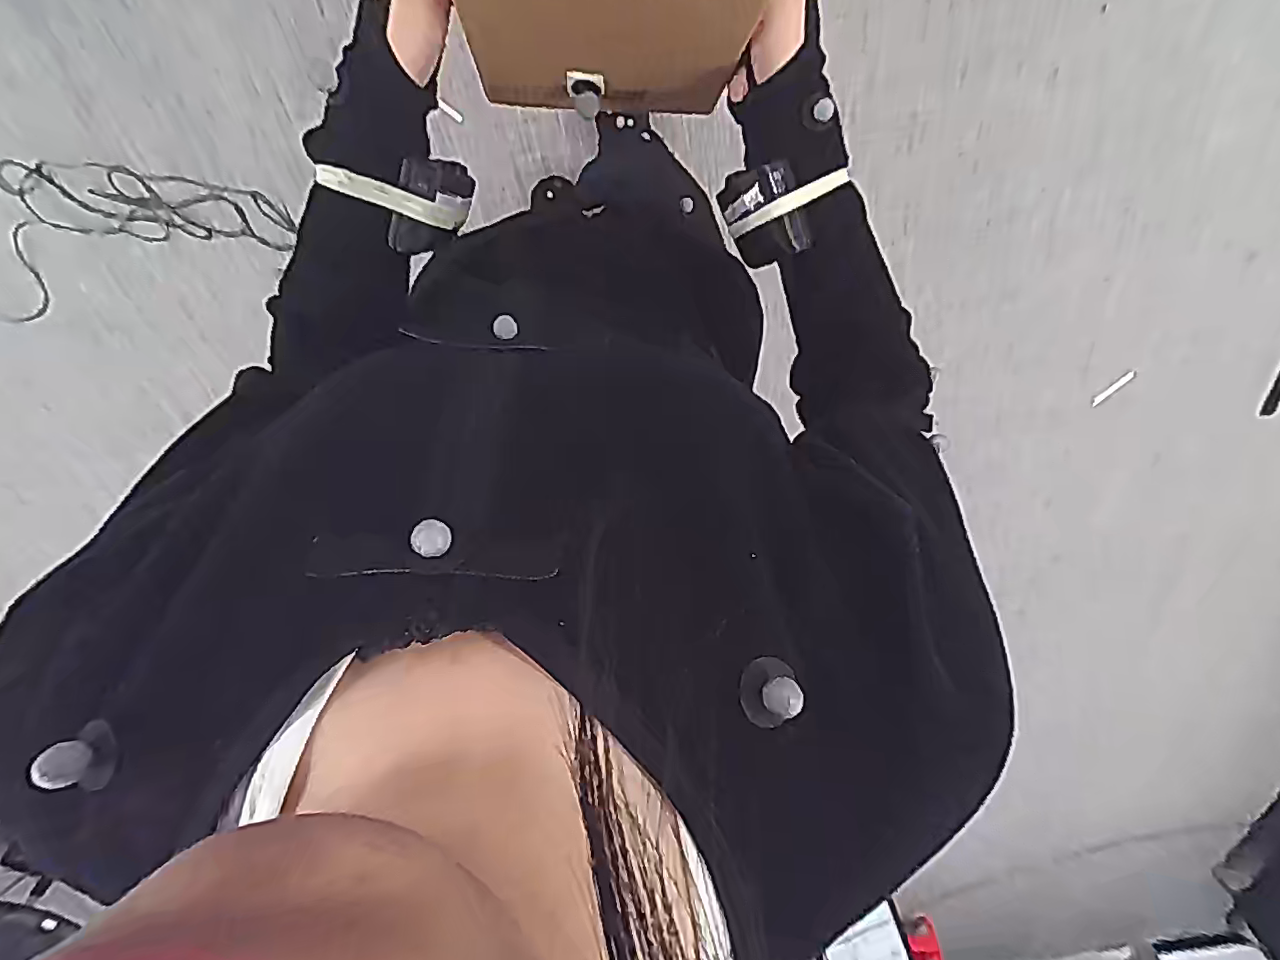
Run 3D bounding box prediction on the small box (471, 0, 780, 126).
[{"bbox_3d":[-0.016,-0.338,0.310,0.168,0.176,0.179,-2,102,-5],"label":"small box"}]
